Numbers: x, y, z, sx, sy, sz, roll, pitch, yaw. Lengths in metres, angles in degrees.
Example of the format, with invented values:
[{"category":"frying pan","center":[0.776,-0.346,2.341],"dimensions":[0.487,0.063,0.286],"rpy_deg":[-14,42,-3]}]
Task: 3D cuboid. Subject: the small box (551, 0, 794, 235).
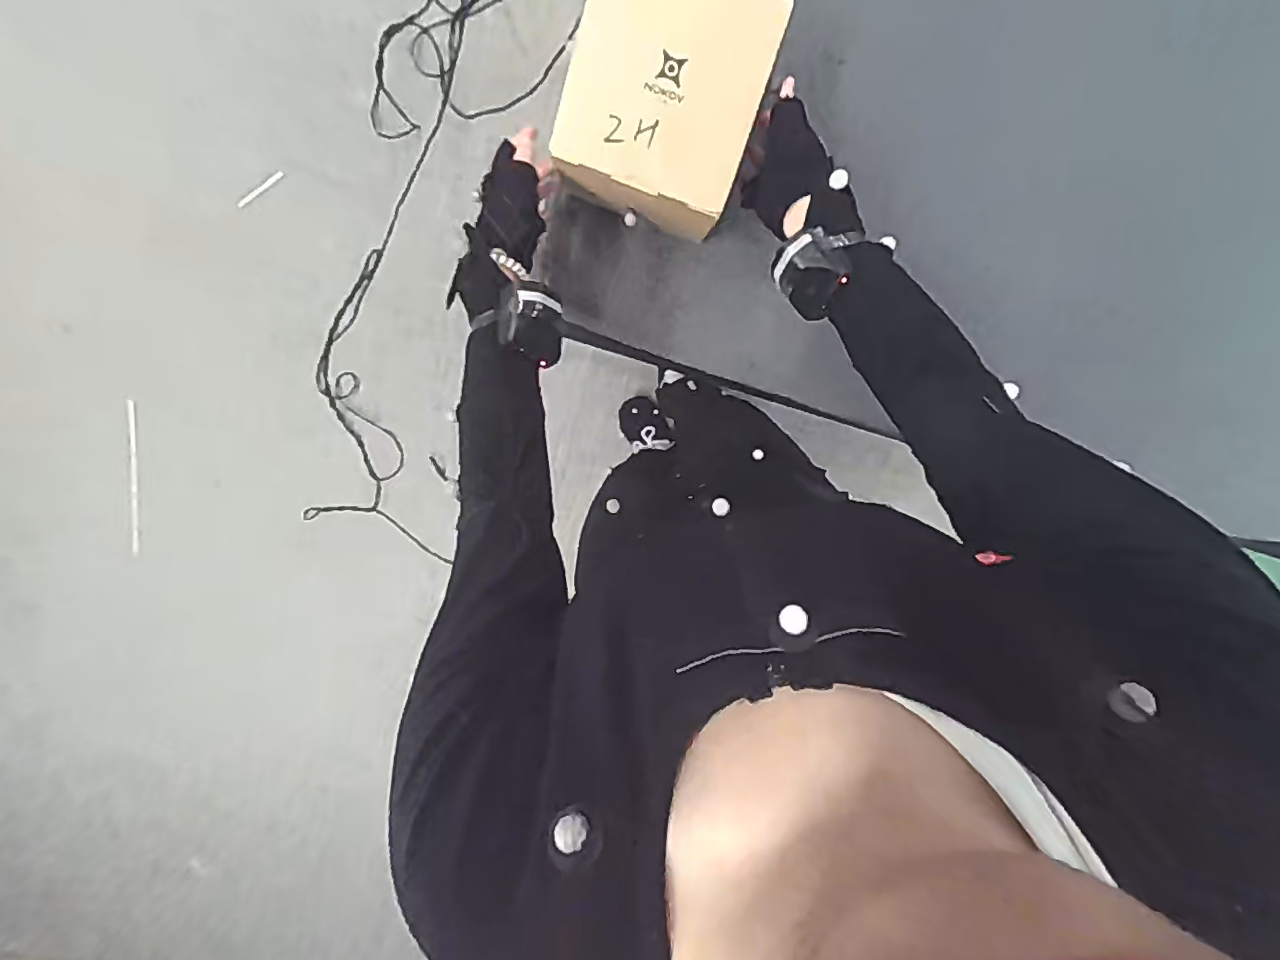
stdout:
[{"category":"small box","center":[0.025,-0.368,0.535],"dimensions":[0.168,0.176,0.179],"rpy_deg":[18,106,-4]}]
